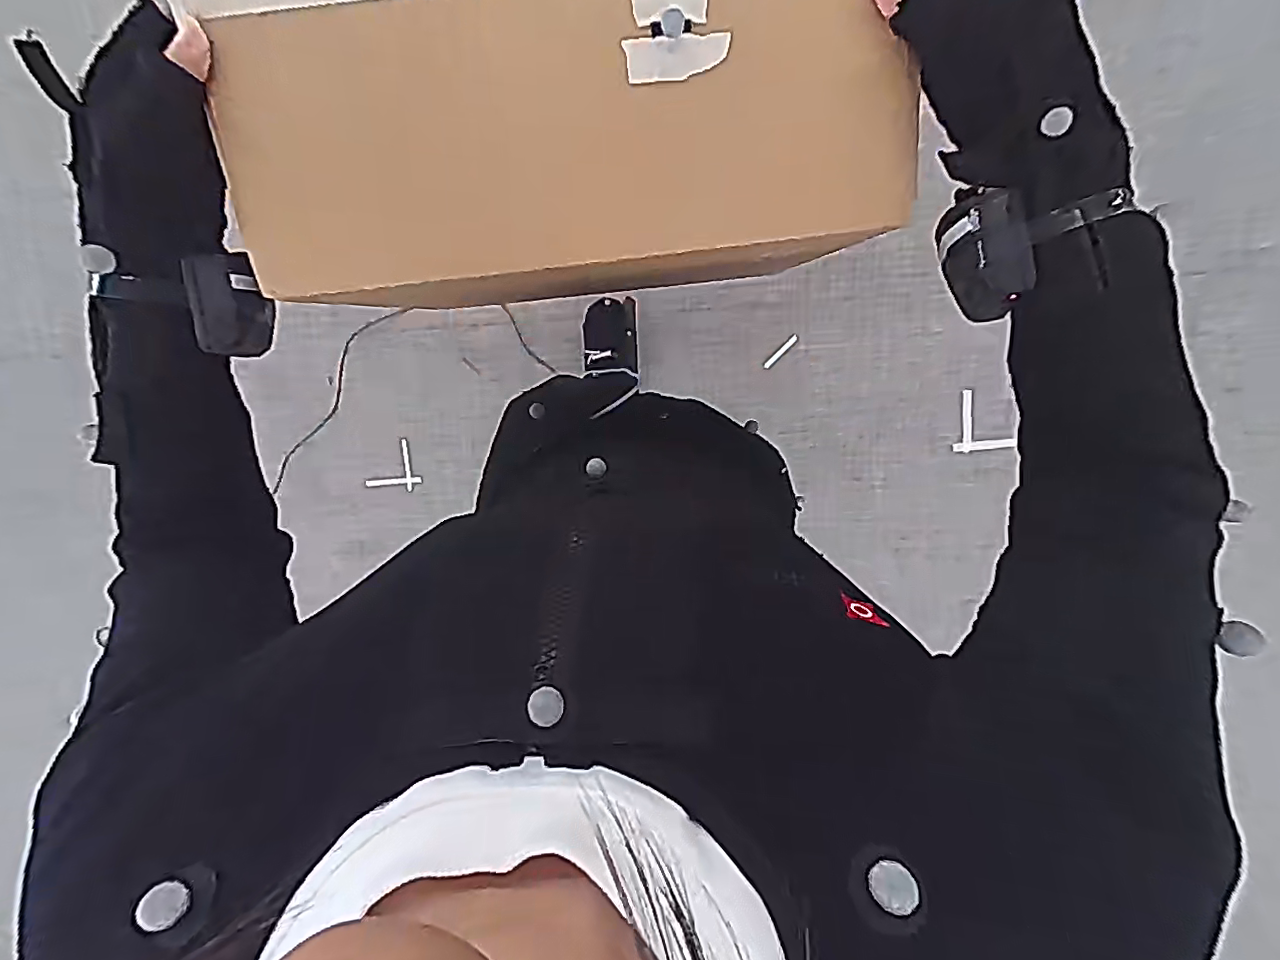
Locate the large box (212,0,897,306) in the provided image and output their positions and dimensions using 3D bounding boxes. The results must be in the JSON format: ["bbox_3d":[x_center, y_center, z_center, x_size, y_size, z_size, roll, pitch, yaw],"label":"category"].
[{"bbox_3d":[-0.054,-0.334,0.452,0.408,0.320,0.320,-6,107,2],"label":"large box"}]
